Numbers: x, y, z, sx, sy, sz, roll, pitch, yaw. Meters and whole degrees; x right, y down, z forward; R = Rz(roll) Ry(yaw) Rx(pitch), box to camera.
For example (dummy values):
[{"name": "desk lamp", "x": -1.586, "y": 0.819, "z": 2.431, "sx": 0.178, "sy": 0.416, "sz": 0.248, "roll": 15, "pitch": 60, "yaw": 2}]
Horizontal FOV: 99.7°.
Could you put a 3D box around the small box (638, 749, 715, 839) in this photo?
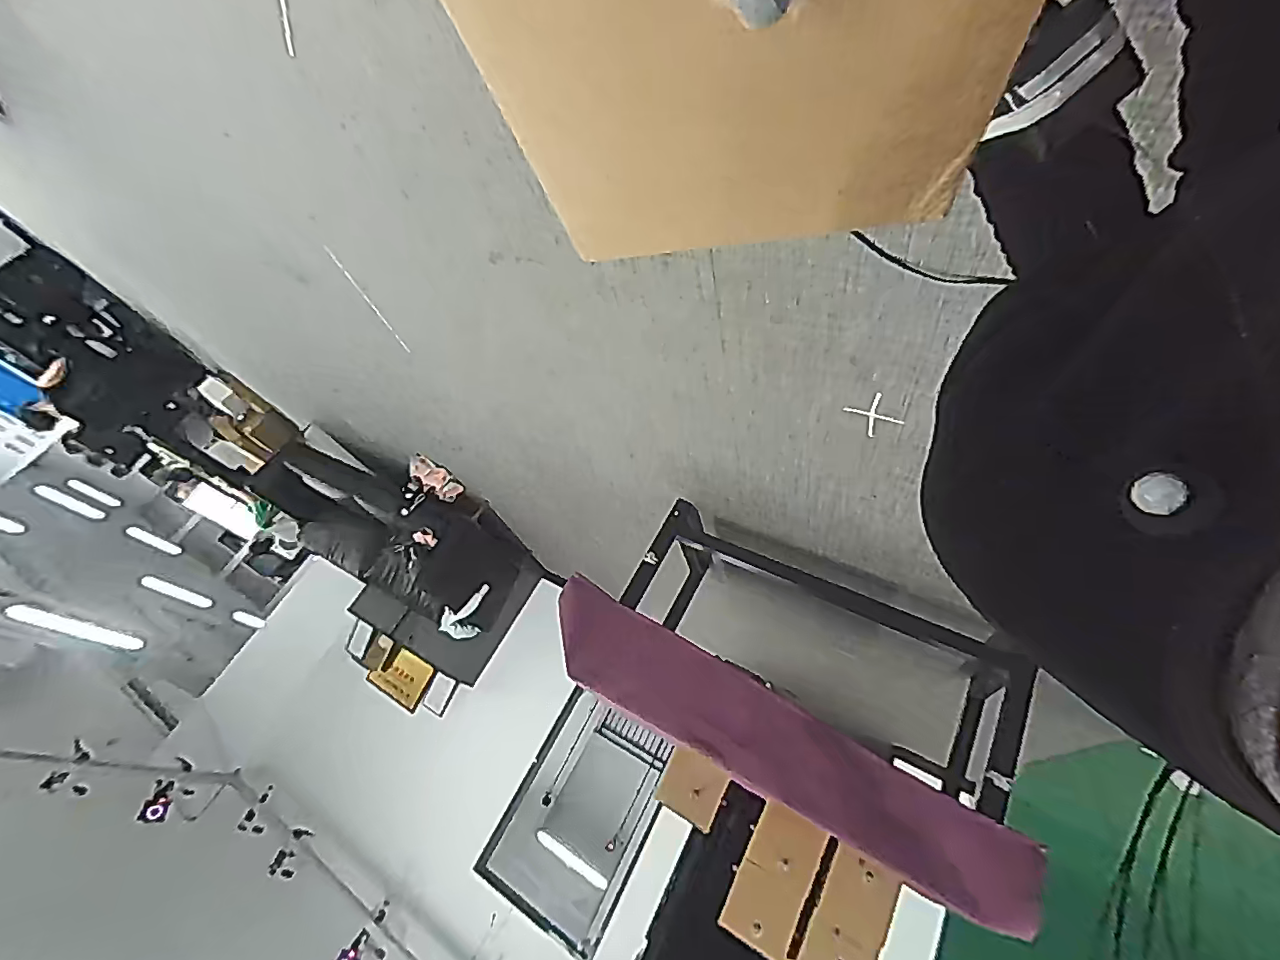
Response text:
[{"name": "small box", "x": 0.113, "y": 0.926, "z": 1.606, "sx": 0.179, "sy": 0.176, "sz": 0.168, "roll": 23, "pitch": 155, "yaw": 17}]

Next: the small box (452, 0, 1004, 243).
[{"name": "small box", "x": 0.032, "y": -0.214, "z": 0.181, "sx": 0.168, "sy": 0.179, "sz": 0.176, "roll": 0, "pitch": 166, "yaw": 12}]
